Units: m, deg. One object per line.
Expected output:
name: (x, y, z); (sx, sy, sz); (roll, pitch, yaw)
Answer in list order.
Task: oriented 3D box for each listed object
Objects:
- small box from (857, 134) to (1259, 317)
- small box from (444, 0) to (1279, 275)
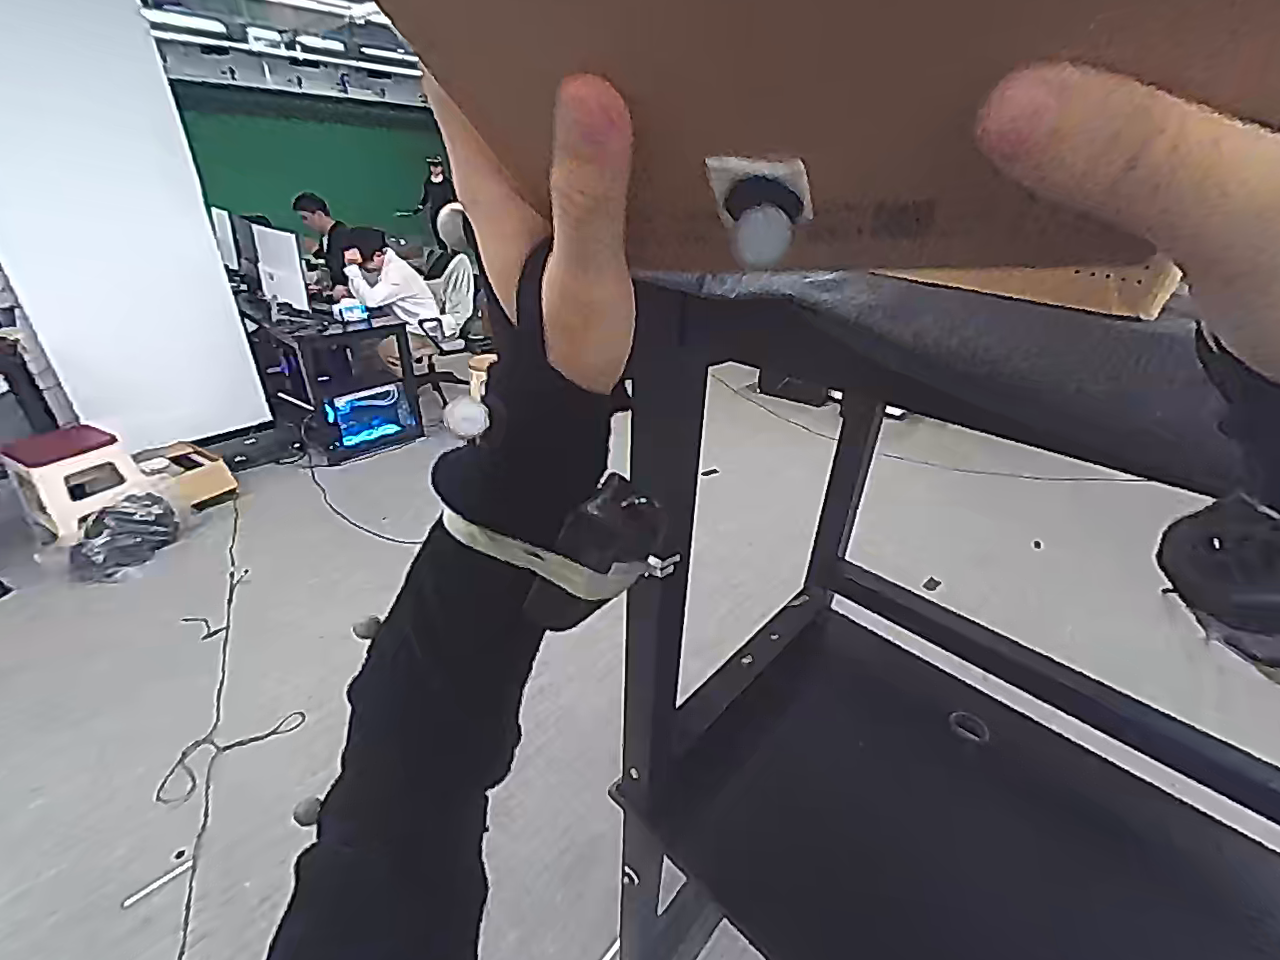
small box: (0.247, -0.199, 0.318); (0.168, 0.176, 0.179); (28, 36, 35)
small box: (0.046, -0.164, 0.106); (0.168, 0.179, 0.176); (7, -8, 22)
